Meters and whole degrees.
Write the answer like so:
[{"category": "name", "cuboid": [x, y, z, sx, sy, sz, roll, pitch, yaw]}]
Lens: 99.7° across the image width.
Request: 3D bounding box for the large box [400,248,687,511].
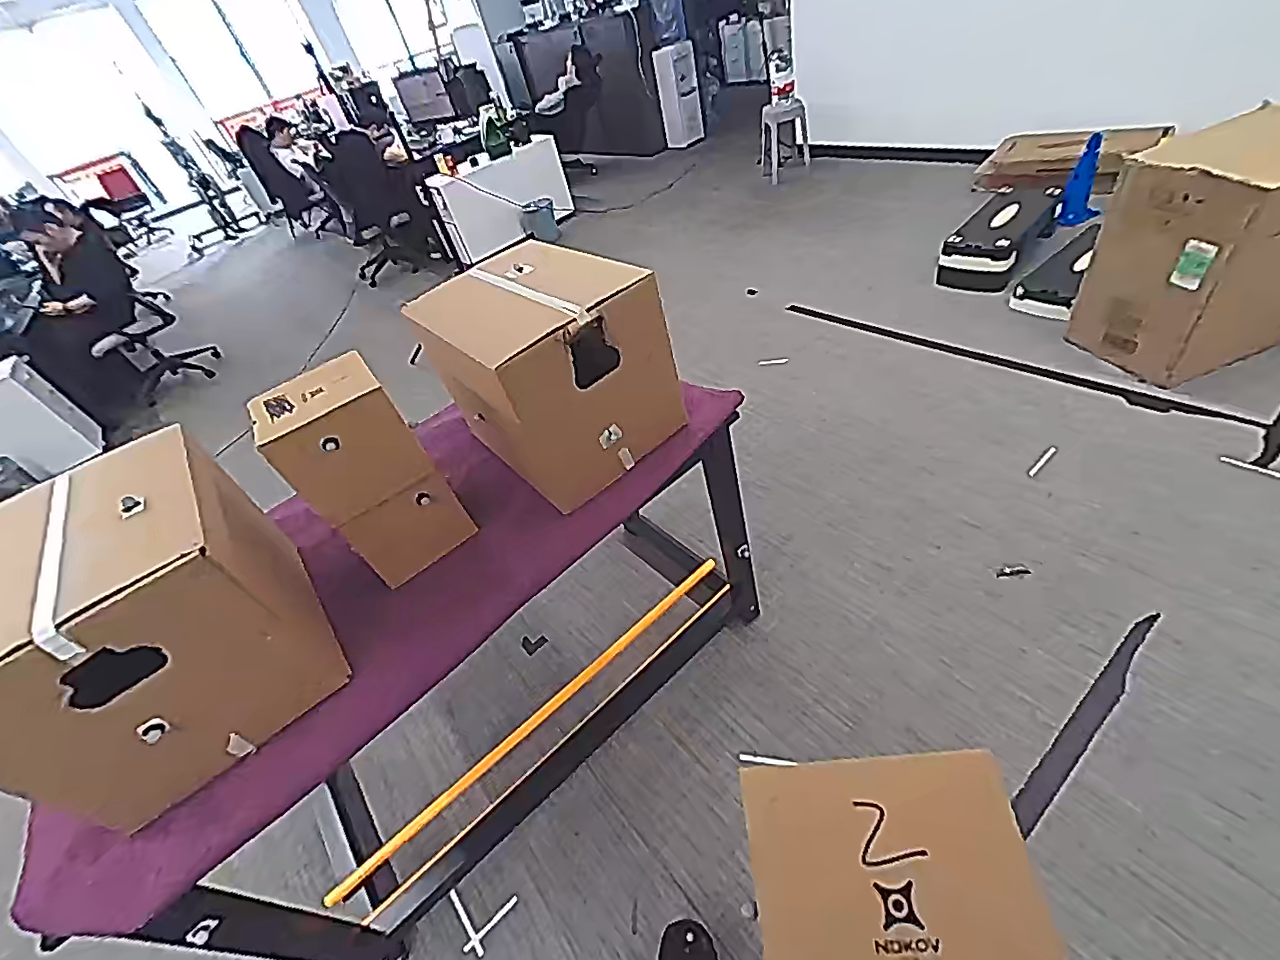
[{"category": "large box", "cuboid": [-0.176, -0.208, 1.030, 0.320, 0.320, 0.408, -37, 44, -21]}]
